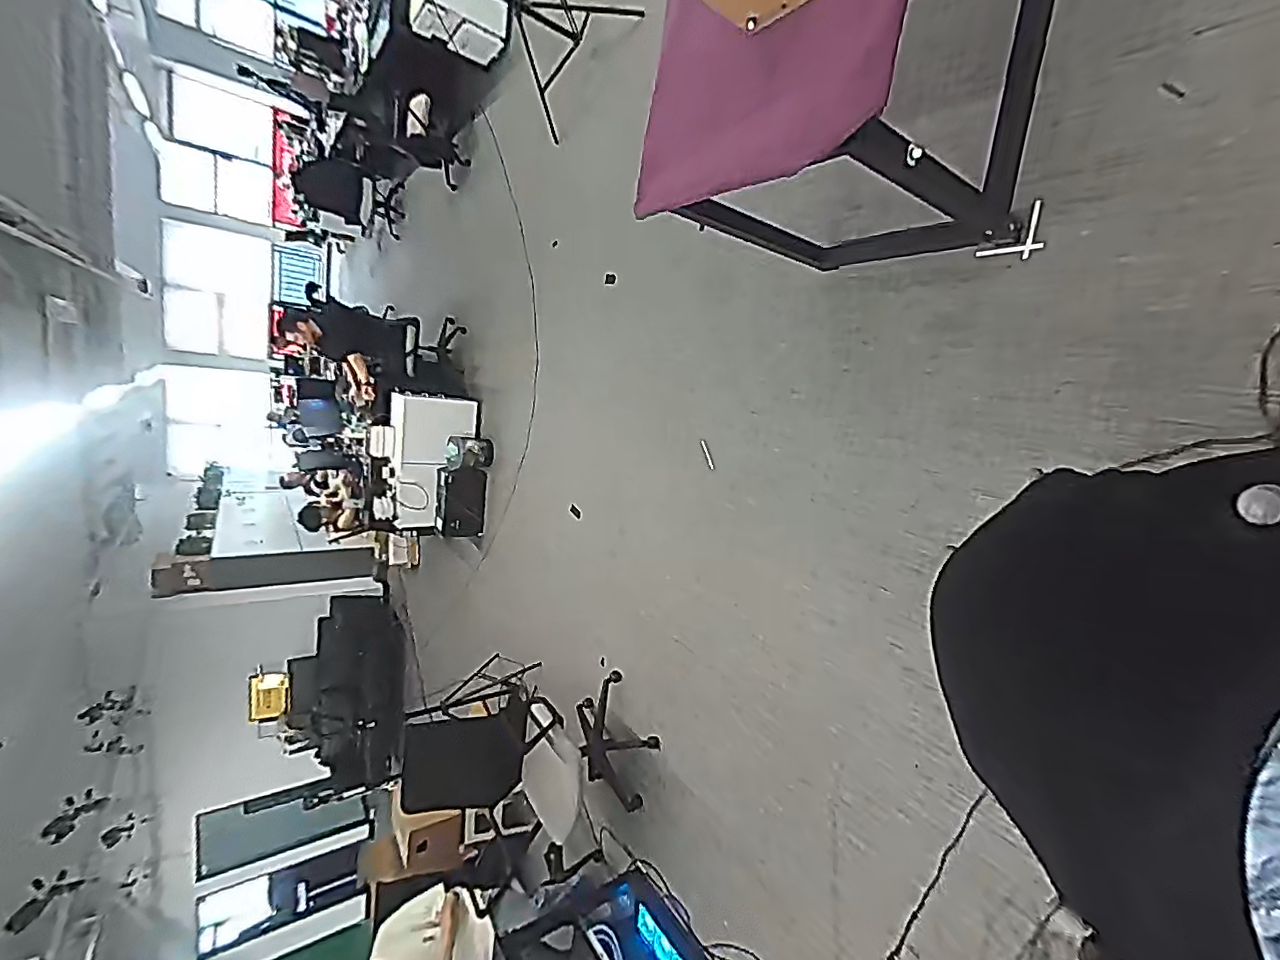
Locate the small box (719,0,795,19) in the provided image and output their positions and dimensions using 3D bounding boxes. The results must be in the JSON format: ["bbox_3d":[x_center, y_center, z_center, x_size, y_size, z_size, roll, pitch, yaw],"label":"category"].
[{"bbox_3d":[0.221,-0.975,0.963,0.168,0.176,0.179,21,106,52],"label":"small box"}]
